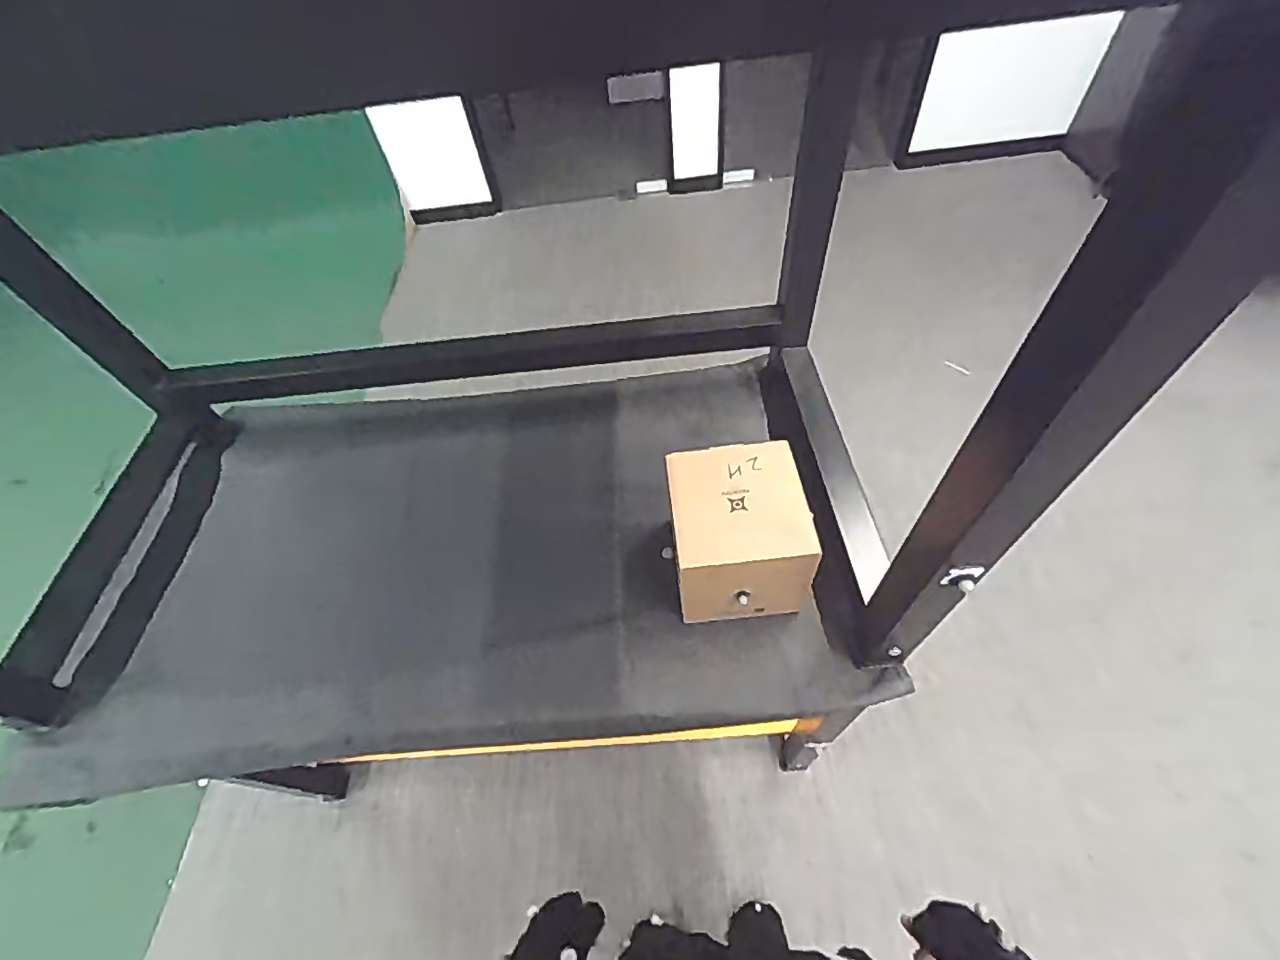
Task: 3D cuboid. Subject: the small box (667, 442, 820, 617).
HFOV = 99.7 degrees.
[{"bbox_3d":[0.130,0.075,0.735,0.168,0.176,0.179,-6,53,2],"label":"small box"}]
